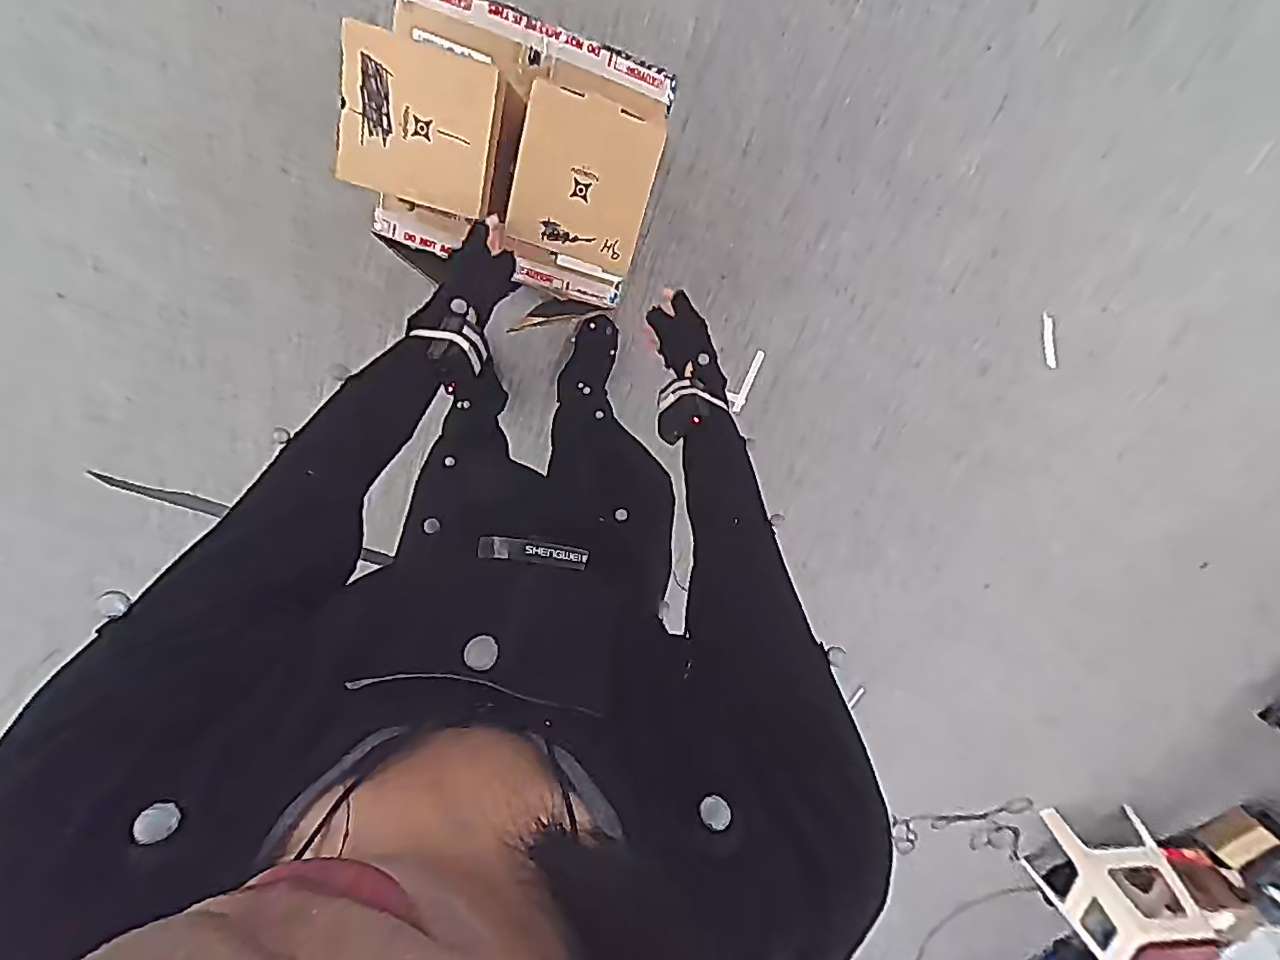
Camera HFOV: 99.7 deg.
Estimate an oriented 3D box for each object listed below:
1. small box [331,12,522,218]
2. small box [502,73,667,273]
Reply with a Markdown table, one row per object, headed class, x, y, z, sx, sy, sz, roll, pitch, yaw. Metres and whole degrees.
| class | x | y | z | sx | sy | sz | roll | pitch | yaw |
| --- | --- | --- | --- | --- | --- | --- | --- | --- | --- |
| small box | -0.266 | -0.448 | 0.699 | 0.179 | 0.176 | 0.168 | 14 | 113 | -7 |
| small box | -0.077 | -0.399 | 0.731 | 0.168 | 0.176 | 0.179 | 15 | 113 | -11 |
